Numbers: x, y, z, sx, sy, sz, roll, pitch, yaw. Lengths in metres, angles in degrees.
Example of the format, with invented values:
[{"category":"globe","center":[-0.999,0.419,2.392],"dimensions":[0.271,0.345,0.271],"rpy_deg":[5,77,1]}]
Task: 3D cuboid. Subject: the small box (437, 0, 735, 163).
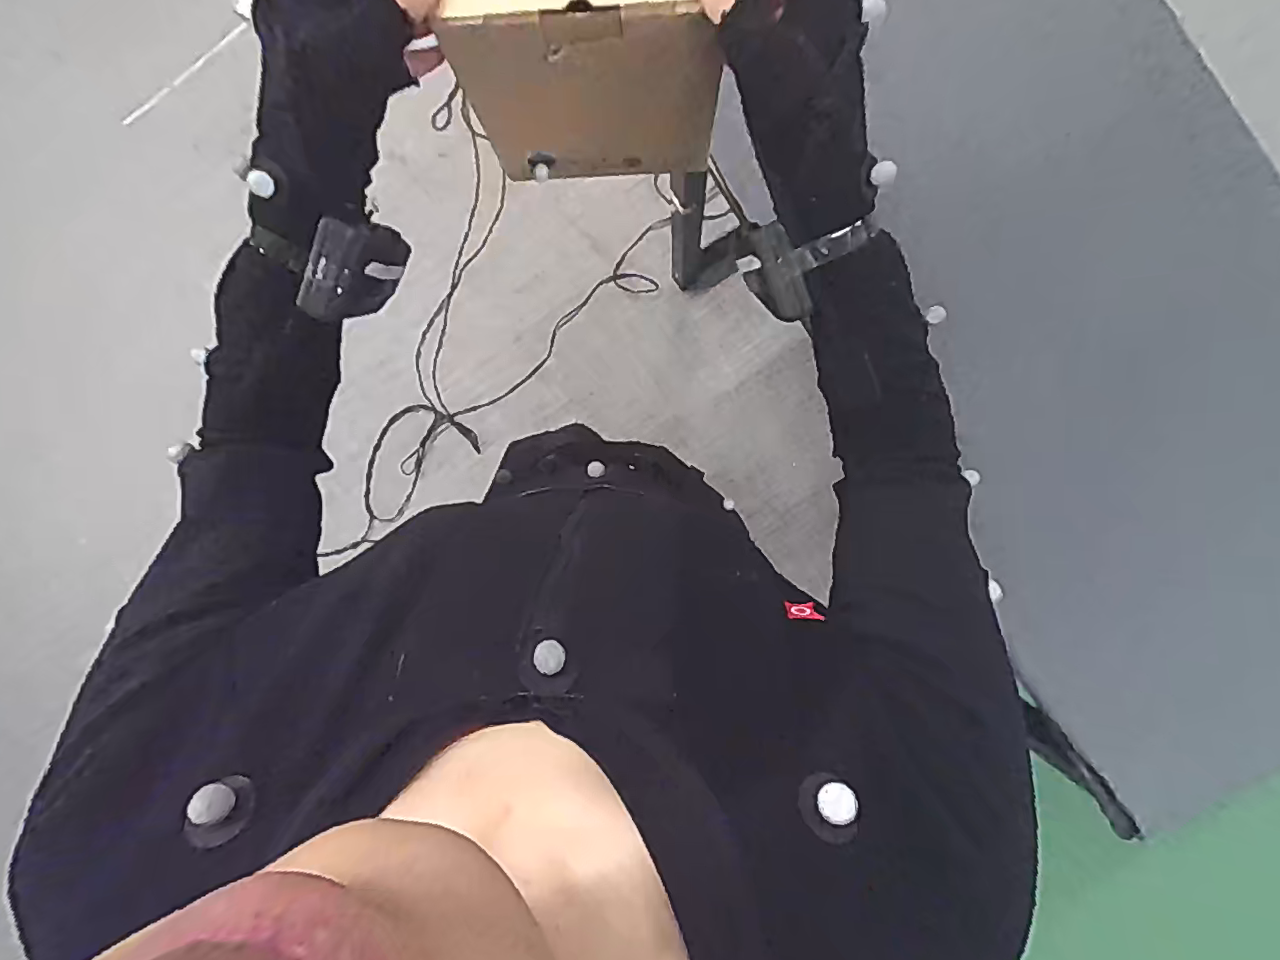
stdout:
[{"category":"small box","center":[-0.028,-0.338,0.364],"dimensions":[0.168,0.176,0.179],"rpy_deg":[-2,92,1]}]
